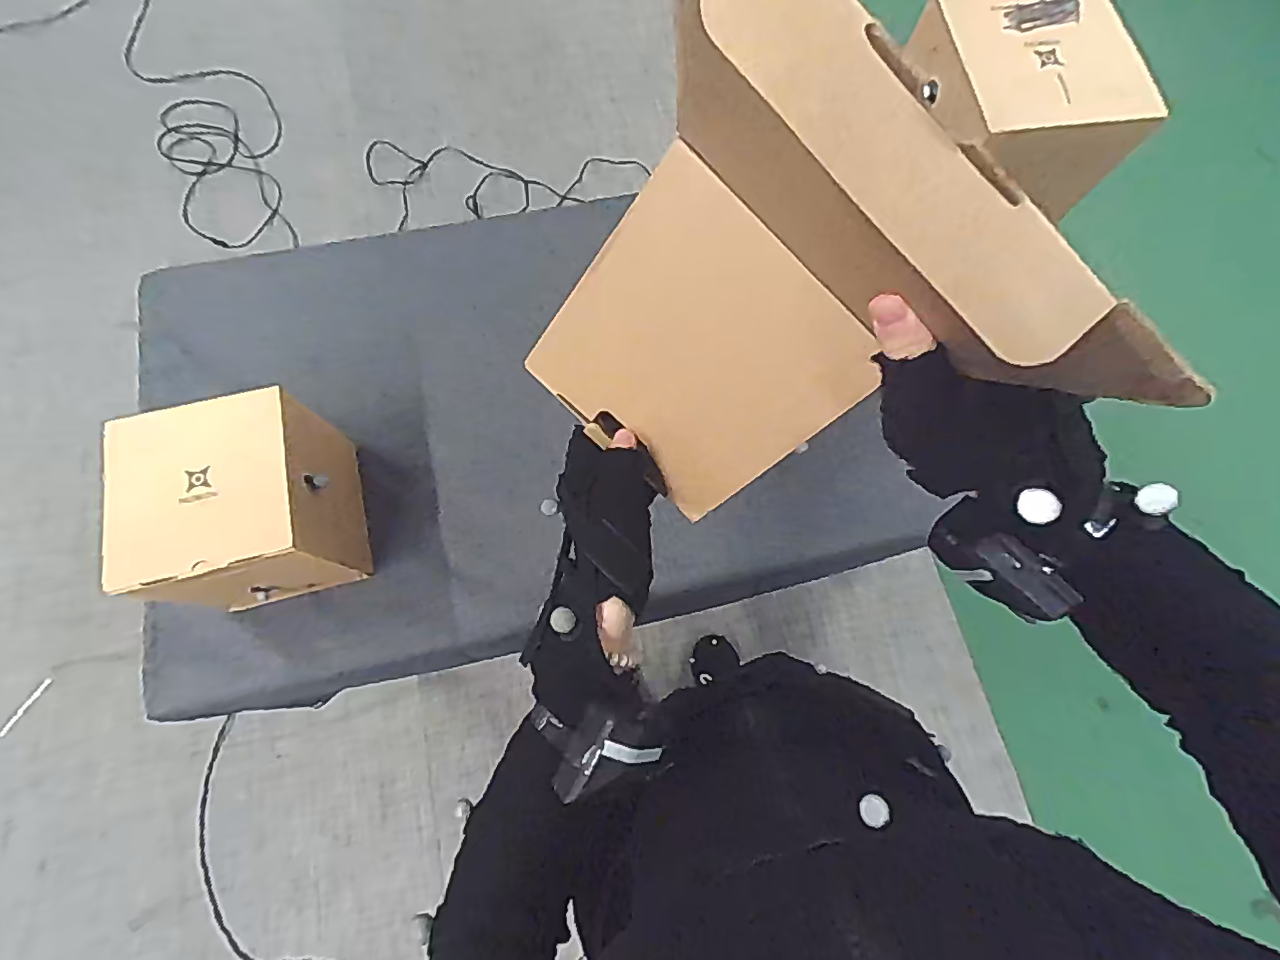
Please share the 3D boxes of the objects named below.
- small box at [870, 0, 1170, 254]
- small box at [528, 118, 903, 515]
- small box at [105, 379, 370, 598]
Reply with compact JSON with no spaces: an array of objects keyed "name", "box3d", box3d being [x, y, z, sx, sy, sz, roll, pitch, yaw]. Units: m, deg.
[{"name":"small box","box3d":[0.364,-0.366,0.560,0.168,0.176,0.179,-7,75,-3]},{"name":"small box","box3d":[0.061,-0.114,0.379,0.168,0.179,0.176,44,40,-6]},{"name":"small box","box3d":[-0.419,0.019,0.589,0.168,0.176,0.179,-14,74,-7]}]
